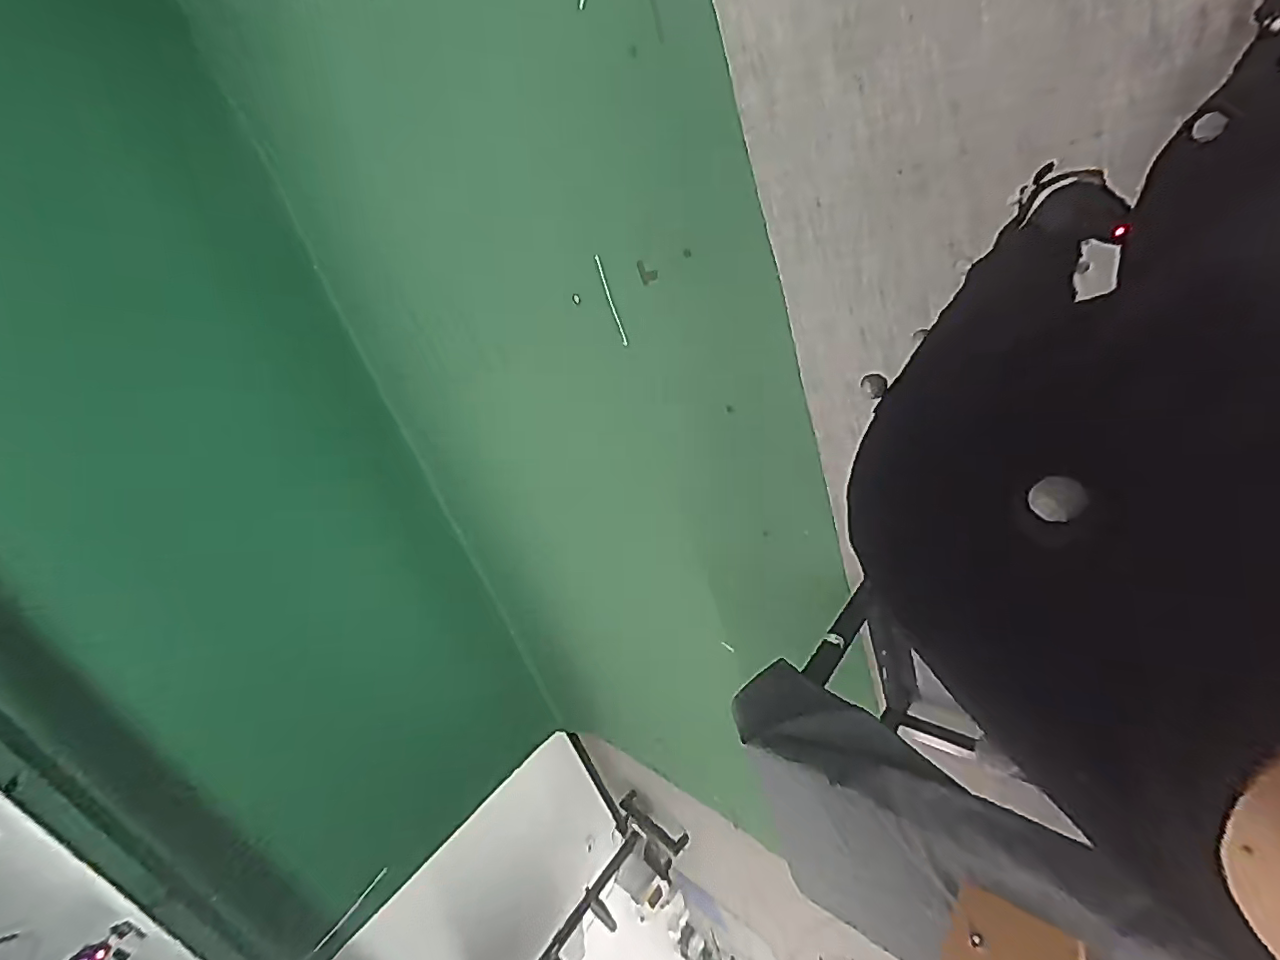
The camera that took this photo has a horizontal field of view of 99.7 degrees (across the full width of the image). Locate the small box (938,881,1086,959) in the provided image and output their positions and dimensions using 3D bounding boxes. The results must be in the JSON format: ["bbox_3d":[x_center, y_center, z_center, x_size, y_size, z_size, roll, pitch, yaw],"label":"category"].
[{"bbox_3d":[0.640,0.841,0.927,0.179,0.176,0.168,3,124,46],"label":"small box"}]
